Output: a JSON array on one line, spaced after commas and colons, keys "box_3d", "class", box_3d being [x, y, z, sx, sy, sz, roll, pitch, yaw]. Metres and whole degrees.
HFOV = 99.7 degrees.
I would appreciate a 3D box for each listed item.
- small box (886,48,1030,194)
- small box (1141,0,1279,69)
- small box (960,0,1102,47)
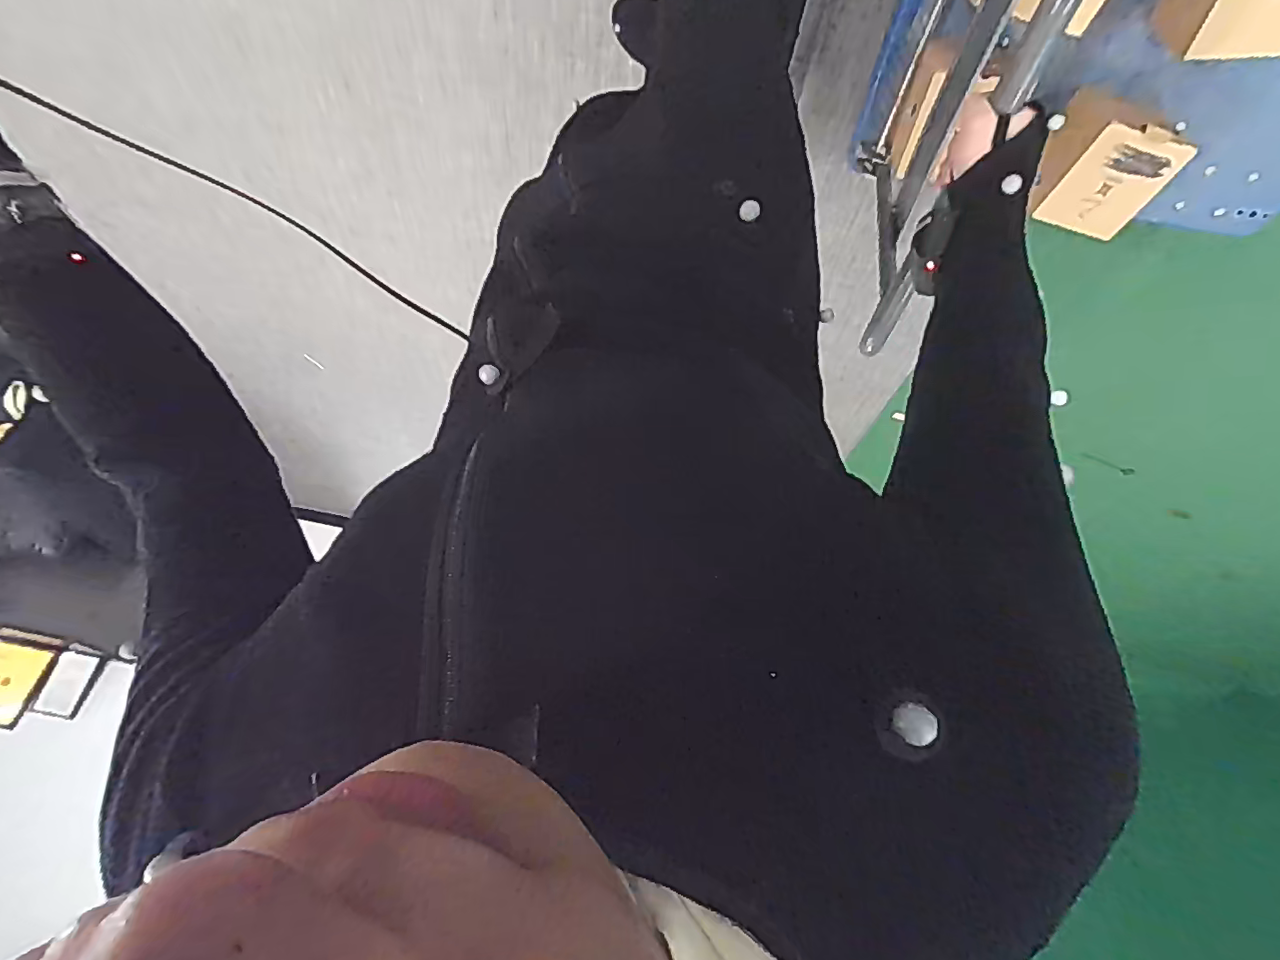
[{"box_3d": [0.570, -0.667, 1.002, 0.168, 0.176, 0.179, 10, 146, 5], "class": "small box"}, {"box_3d": [0.909, -0.736, 0.800, 0.179, 0.176, 0.168, 6, 145, 10], "class": "small box"}, {"box_3d": [0.611, -0.799, 0.810, 0.179, 0.176, 0.168, 15, 145, -2], "class": "small box"}]
